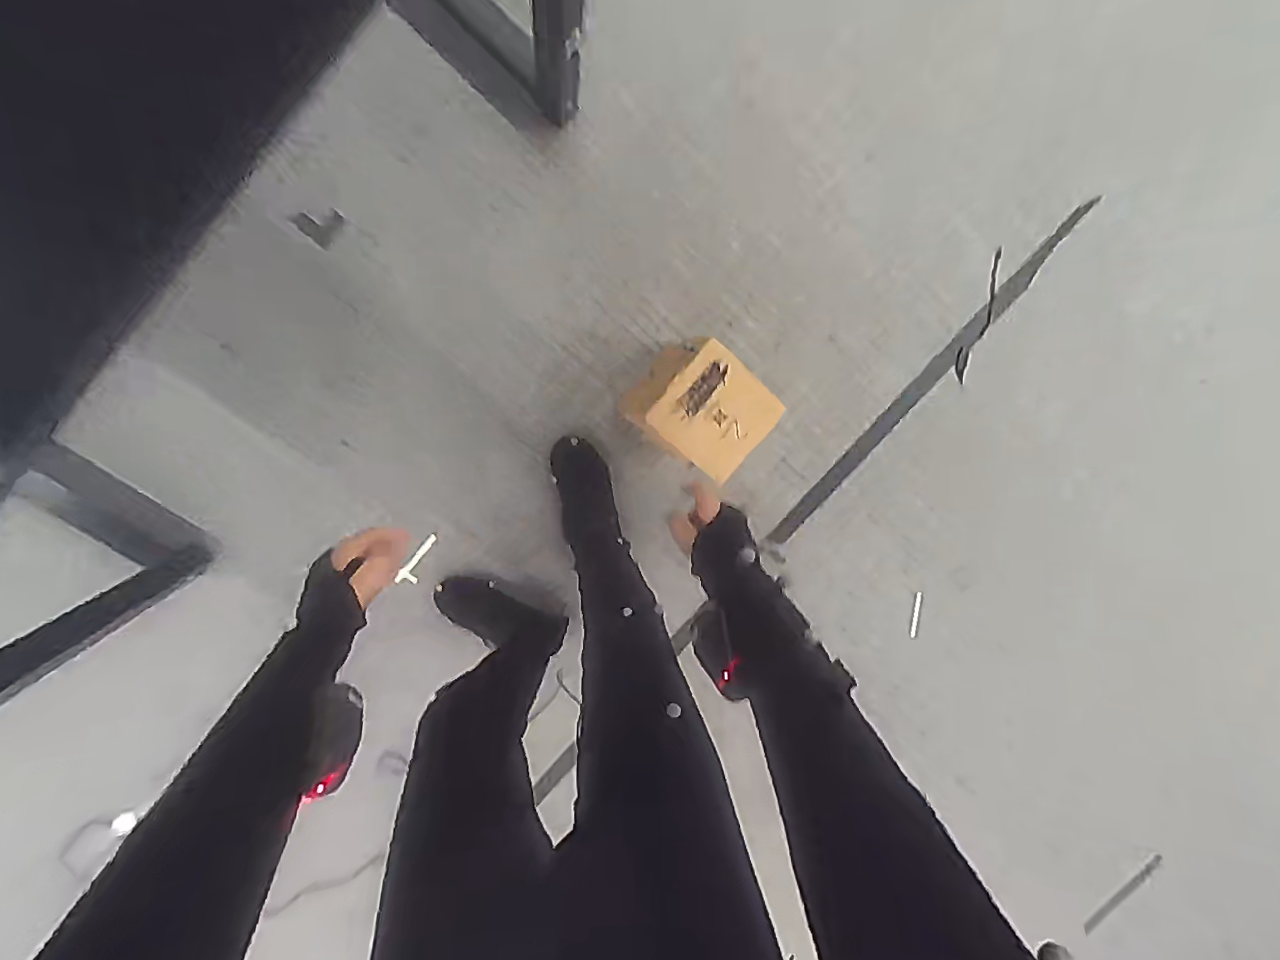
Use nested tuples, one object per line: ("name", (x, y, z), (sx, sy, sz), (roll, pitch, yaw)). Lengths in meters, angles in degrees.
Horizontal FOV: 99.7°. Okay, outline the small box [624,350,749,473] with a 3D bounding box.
("small box", (0.083, -0.145, 1.088), (0.168, 0.176, 0.179), (38, 96, -14))
